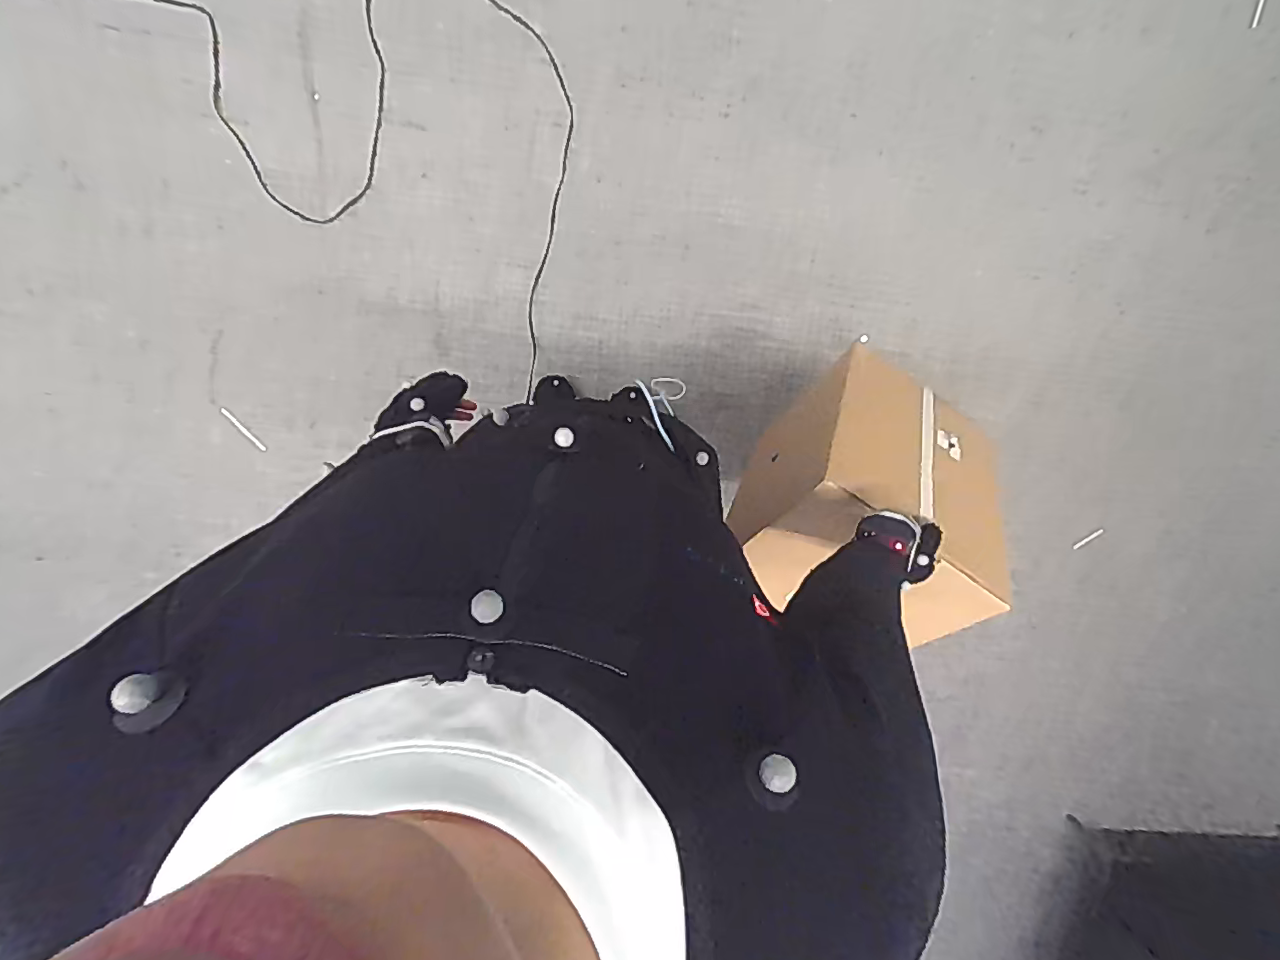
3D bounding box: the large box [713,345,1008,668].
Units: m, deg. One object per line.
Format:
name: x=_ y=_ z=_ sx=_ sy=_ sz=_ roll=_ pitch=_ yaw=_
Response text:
large box: x=0.374 y=0.045 z=0.956 sx=0.320 sy=0.408 sz=0.320 roll=35 pitch=136 yaw=-4
